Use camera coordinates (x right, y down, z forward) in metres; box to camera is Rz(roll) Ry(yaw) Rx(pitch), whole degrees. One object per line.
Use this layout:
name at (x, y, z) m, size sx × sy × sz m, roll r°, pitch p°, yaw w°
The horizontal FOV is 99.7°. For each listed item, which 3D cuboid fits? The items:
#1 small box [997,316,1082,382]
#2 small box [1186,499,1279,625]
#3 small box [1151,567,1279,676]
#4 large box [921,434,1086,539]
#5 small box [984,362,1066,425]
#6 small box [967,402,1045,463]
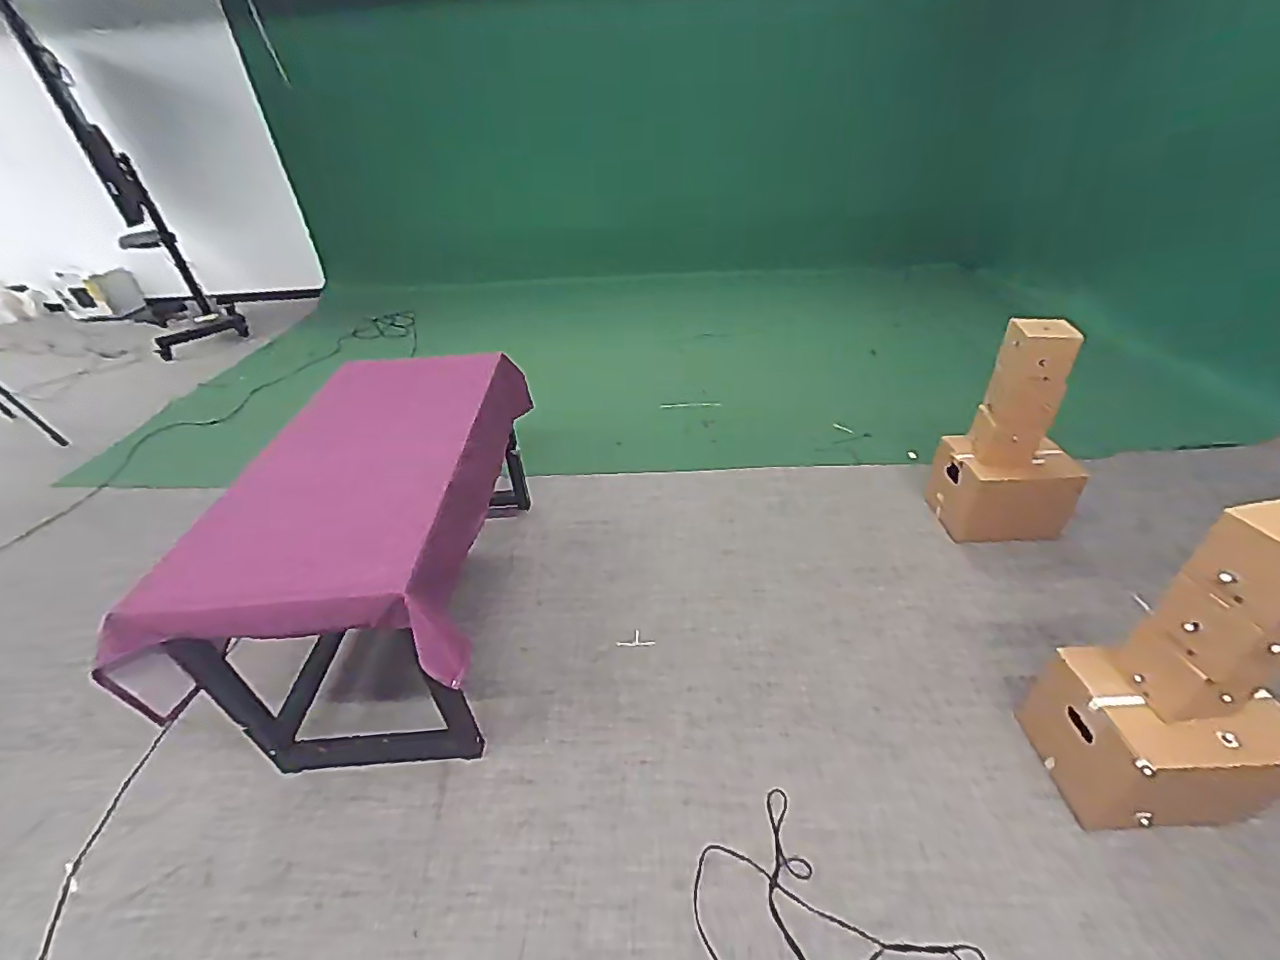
small box at (1.358, -0.449, 1.849) m, size 0.168 × 0.176 × 0.179 m, roll 7°, pitch 37°, yaw 13°
small box at (1.242, 0.156, 1.047) m, size 0.179 × 0.176 × 0.168 m, roll -8°, pitch 35°, yaw -6°
small box at (1.248, 0.291, 1.143) m, size 0.179 × 0.176 × 0.168 m, roll -8°, pitch 36°, yaw -5°
large box at (1.429, 0.019, 2.170) m, size 0.408 × 0.320 × 0.320 m, roll -2°, pitch 37°, yaw 1°
small box at (1.370, -0.311, 1.939) m, size 0.179 × 0.176 × 0.168 m, roll 5°, pitch 36°, yaw 13°
small box at (1.368, -0.177, 2.032) m, size 0.179 × 0.176 × 0.168 m, roll 4°, pitch 37°, yaw 10°
